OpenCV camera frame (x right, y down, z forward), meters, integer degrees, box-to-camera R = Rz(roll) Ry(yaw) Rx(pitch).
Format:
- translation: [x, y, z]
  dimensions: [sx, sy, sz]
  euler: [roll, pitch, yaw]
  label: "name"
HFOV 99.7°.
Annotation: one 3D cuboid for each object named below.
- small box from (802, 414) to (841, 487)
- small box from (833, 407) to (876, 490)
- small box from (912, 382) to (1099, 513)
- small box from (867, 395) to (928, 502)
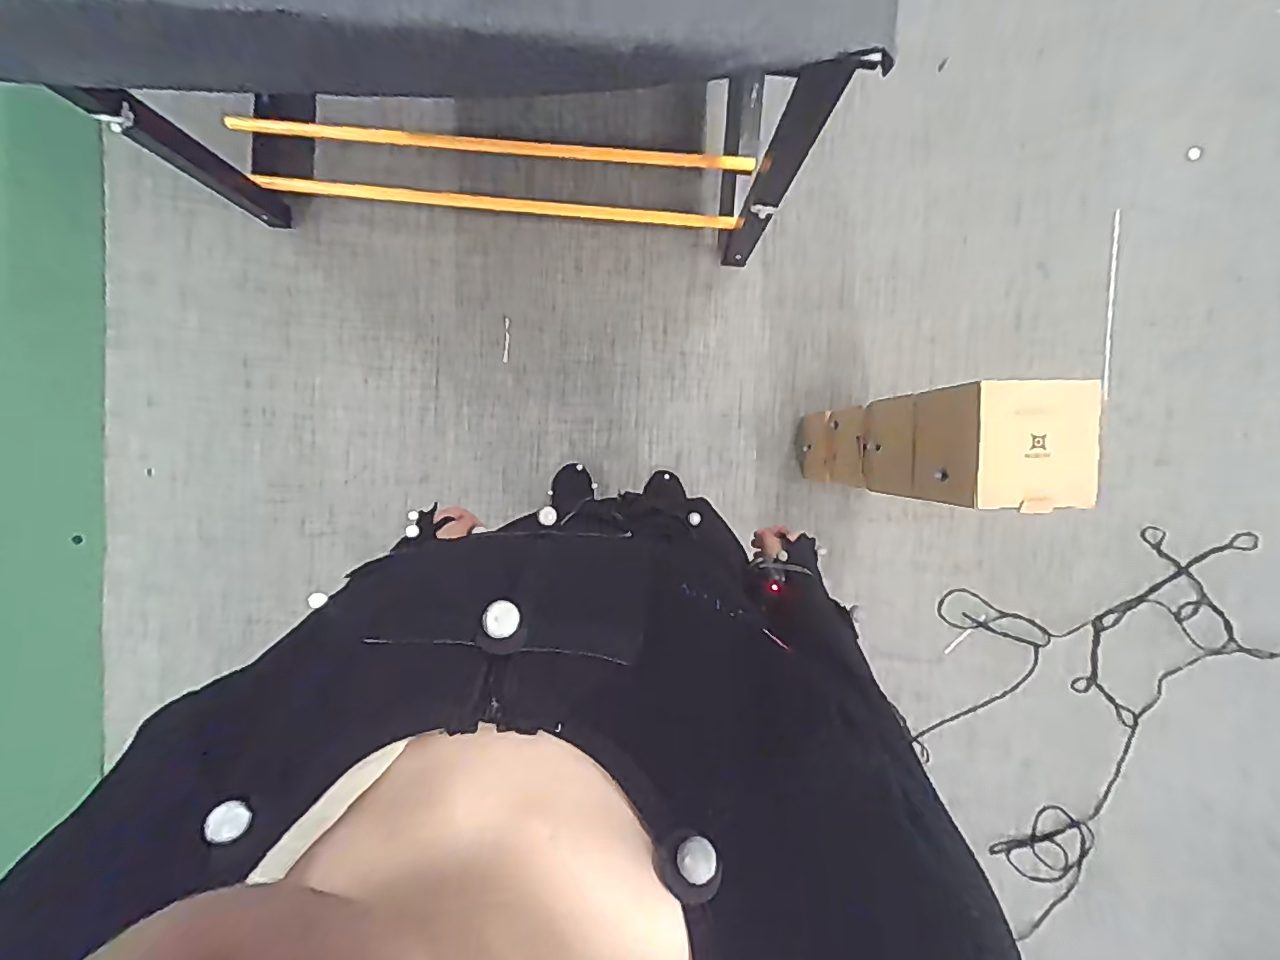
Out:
- translation: [0.500, -0.072, 1.290]
  dimensions: [0.179, 0.176, 0.168]
  euler: [-2, 92, 0]
  label: "small box"
- translation: [0.514, -0.064, 1.126]
  dimensions: [0.179, 0.176, 0.168]
  euler: [-1, 93, -2]
  label: "small box"
- translation: [0.525, -0.047, 0.800]
  dimensions: [0.168, 0.176, 0.179]
  euler: [-1, 92, -1]
  label: "small box"
- translation: [0.520, -0.057, 0.963]
  dimensions: [0.168, 0.176, 0.179]
  euler: [-1, 93, -1]
  label: "small box"
